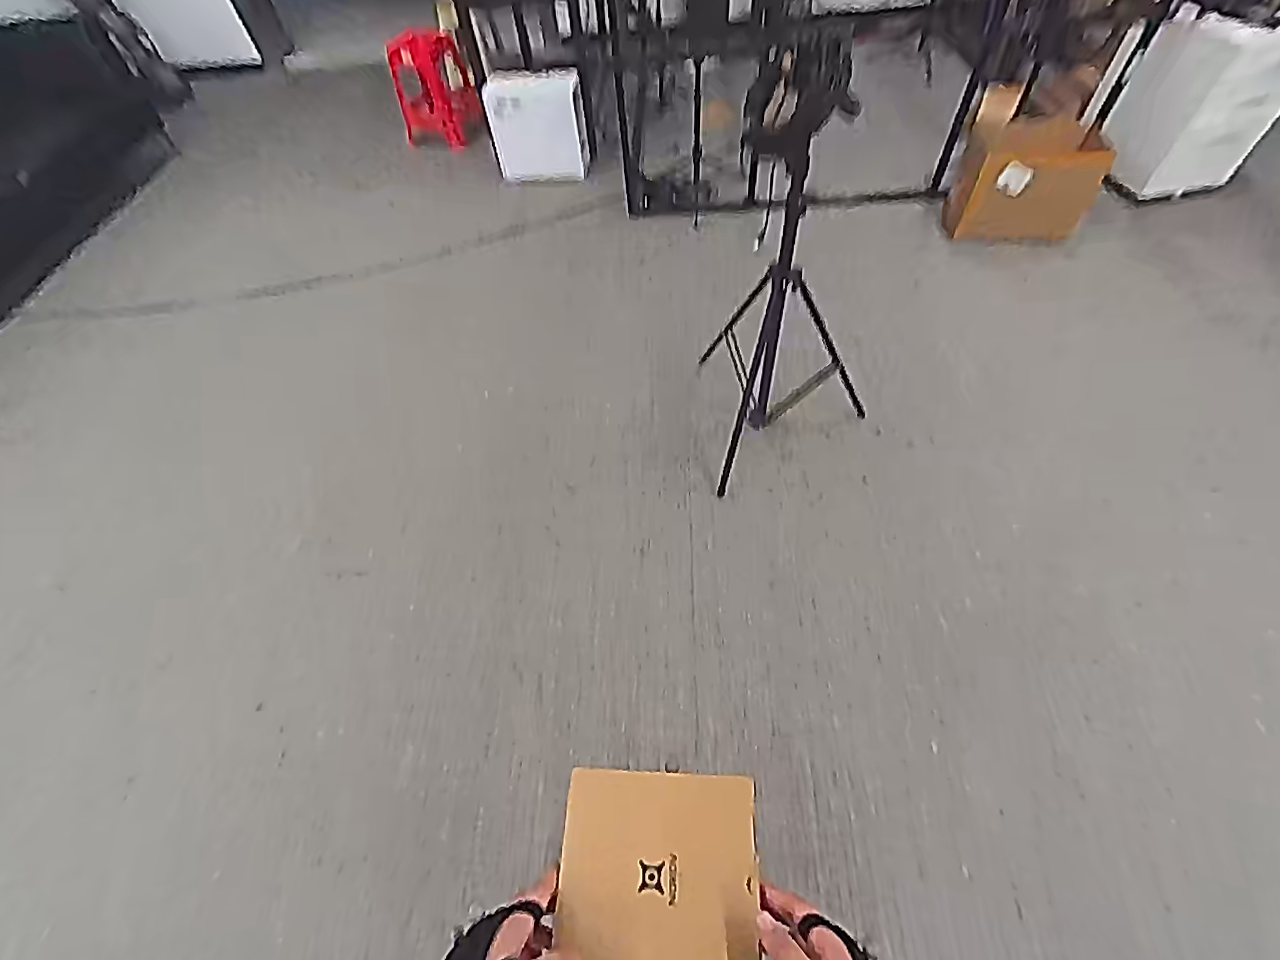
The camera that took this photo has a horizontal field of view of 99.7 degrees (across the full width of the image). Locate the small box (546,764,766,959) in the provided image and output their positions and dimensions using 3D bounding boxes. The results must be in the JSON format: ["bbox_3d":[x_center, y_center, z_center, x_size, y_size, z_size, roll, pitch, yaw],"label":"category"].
[{"bbox_3d":[0.024,0.381,0.518,0.179,0.176,0.168,-2,54,7],"label":"small box"}]
